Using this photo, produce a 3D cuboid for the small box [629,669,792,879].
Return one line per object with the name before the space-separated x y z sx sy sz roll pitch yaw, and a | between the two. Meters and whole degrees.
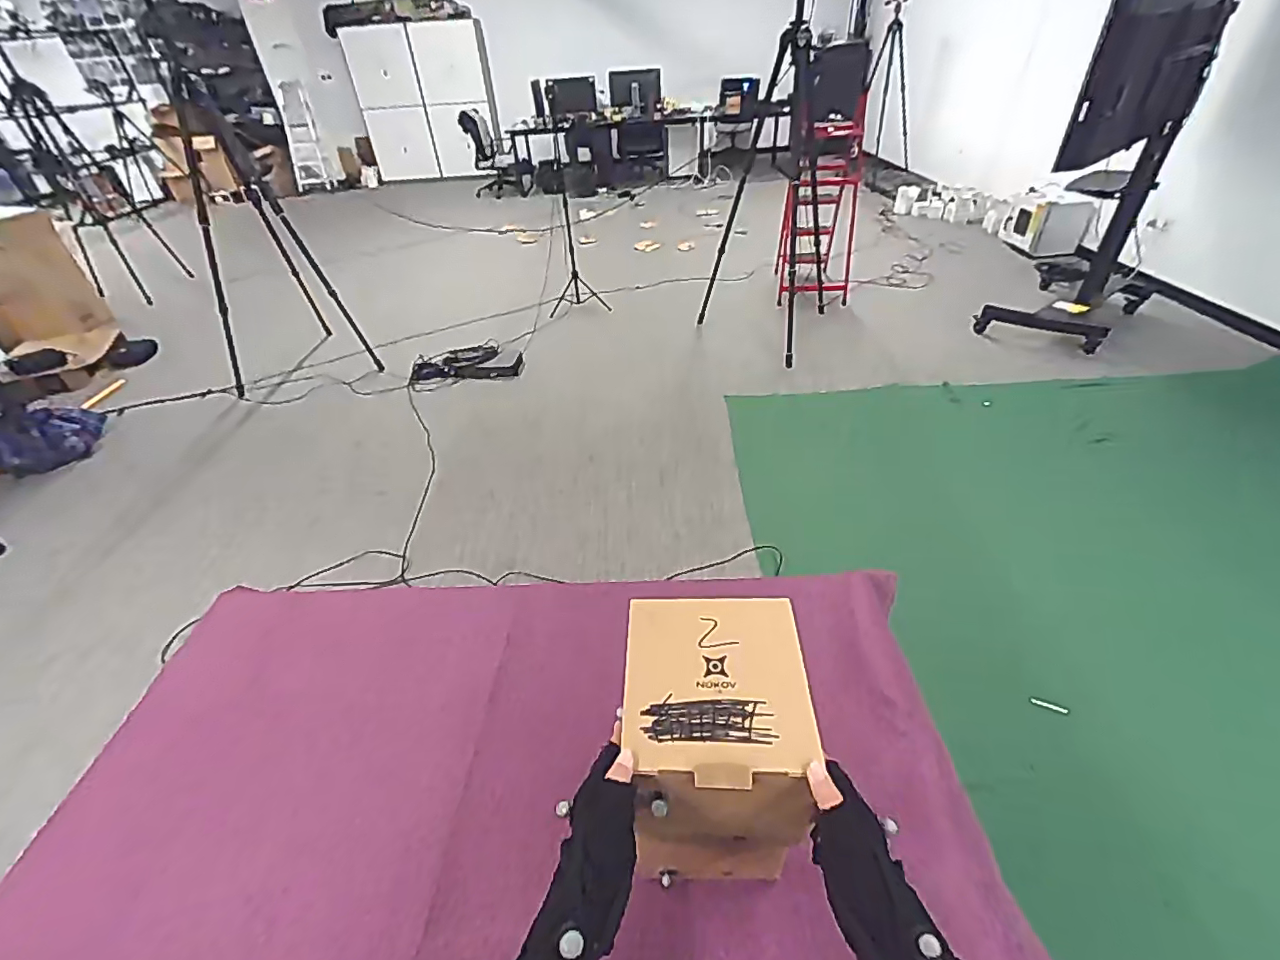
small box | 0.080 0.354 0.653 0.168 0.176 0.179 1 40 4
